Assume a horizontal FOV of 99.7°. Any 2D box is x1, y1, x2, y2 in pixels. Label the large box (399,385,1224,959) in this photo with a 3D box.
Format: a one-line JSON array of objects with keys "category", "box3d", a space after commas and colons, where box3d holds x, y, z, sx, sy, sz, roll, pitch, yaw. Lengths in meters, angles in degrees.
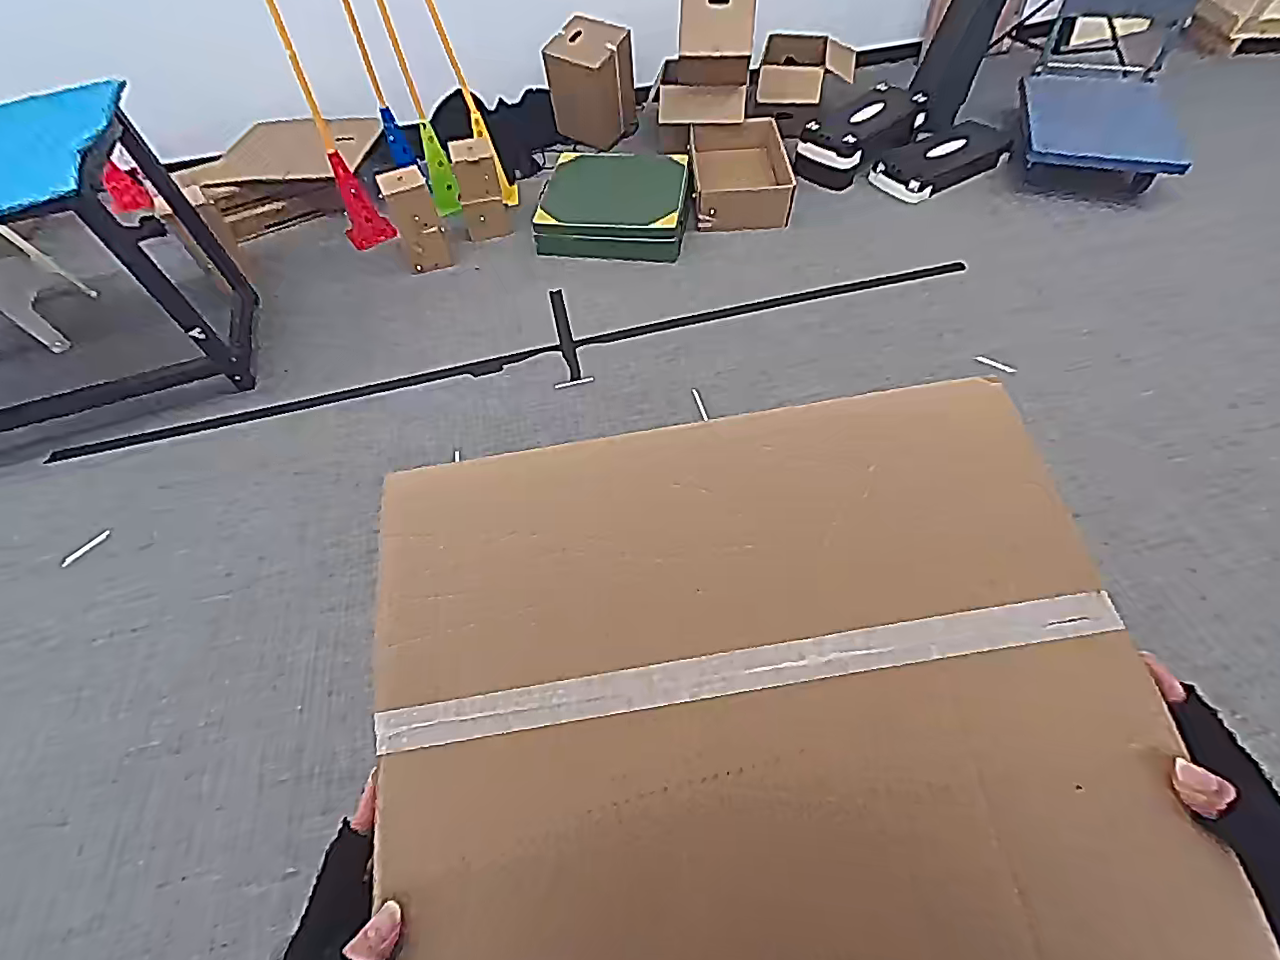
[{"category": "large box", "box3d": [0.067, 0.165, 0.448, 0.408, 0.320, 0.320, -10, 67, 0]}]
